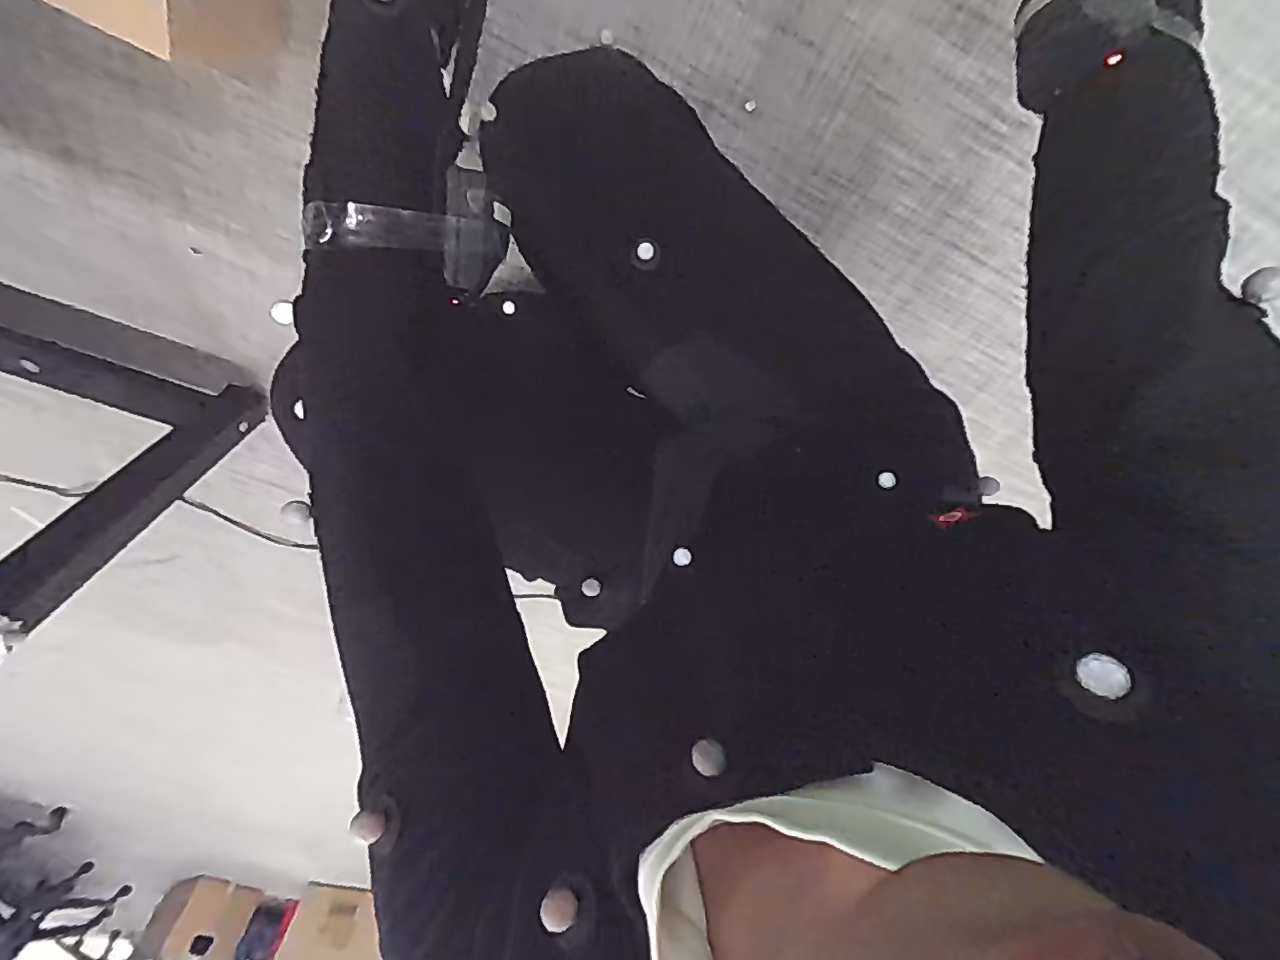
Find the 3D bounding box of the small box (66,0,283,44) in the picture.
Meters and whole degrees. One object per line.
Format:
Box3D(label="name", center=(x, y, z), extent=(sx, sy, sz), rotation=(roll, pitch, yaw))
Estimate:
Box3D(label="small box", center=(-0.430, -0.497, 0.445), extent=(0.179, 0.176, 0.168), rotation=(23, 129, -12))
